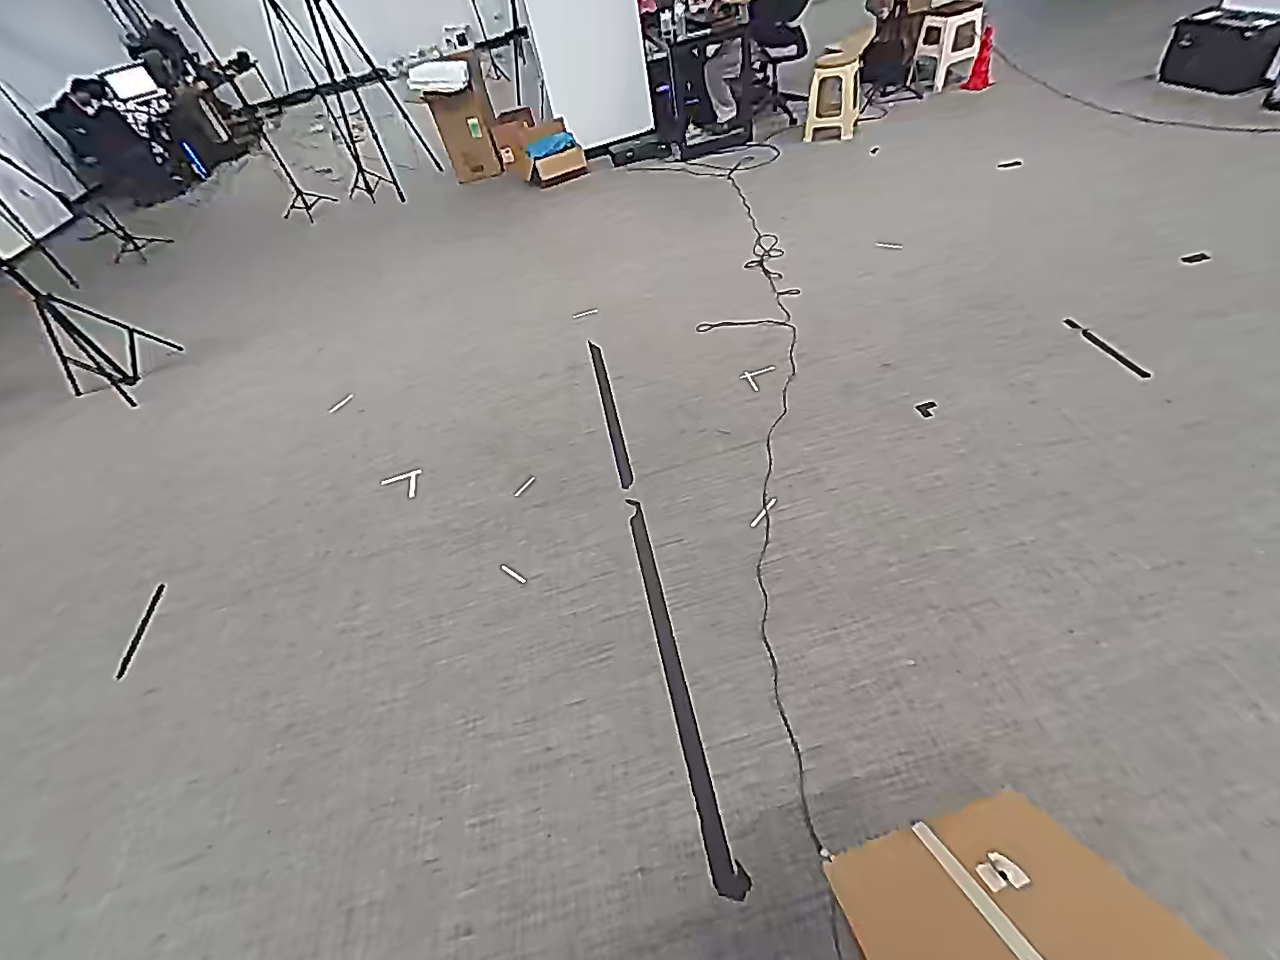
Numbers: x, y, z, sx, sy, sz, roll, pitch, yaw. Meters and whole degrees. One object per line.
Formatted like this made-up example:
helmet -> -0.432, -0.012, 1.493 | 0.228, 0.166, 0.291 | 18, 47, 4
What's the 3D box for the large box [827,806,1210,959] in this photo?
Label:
large box -> 0.477, 0.675, 0.616 | 0.320, 0.408, 0.320 | -19, 86, -1
